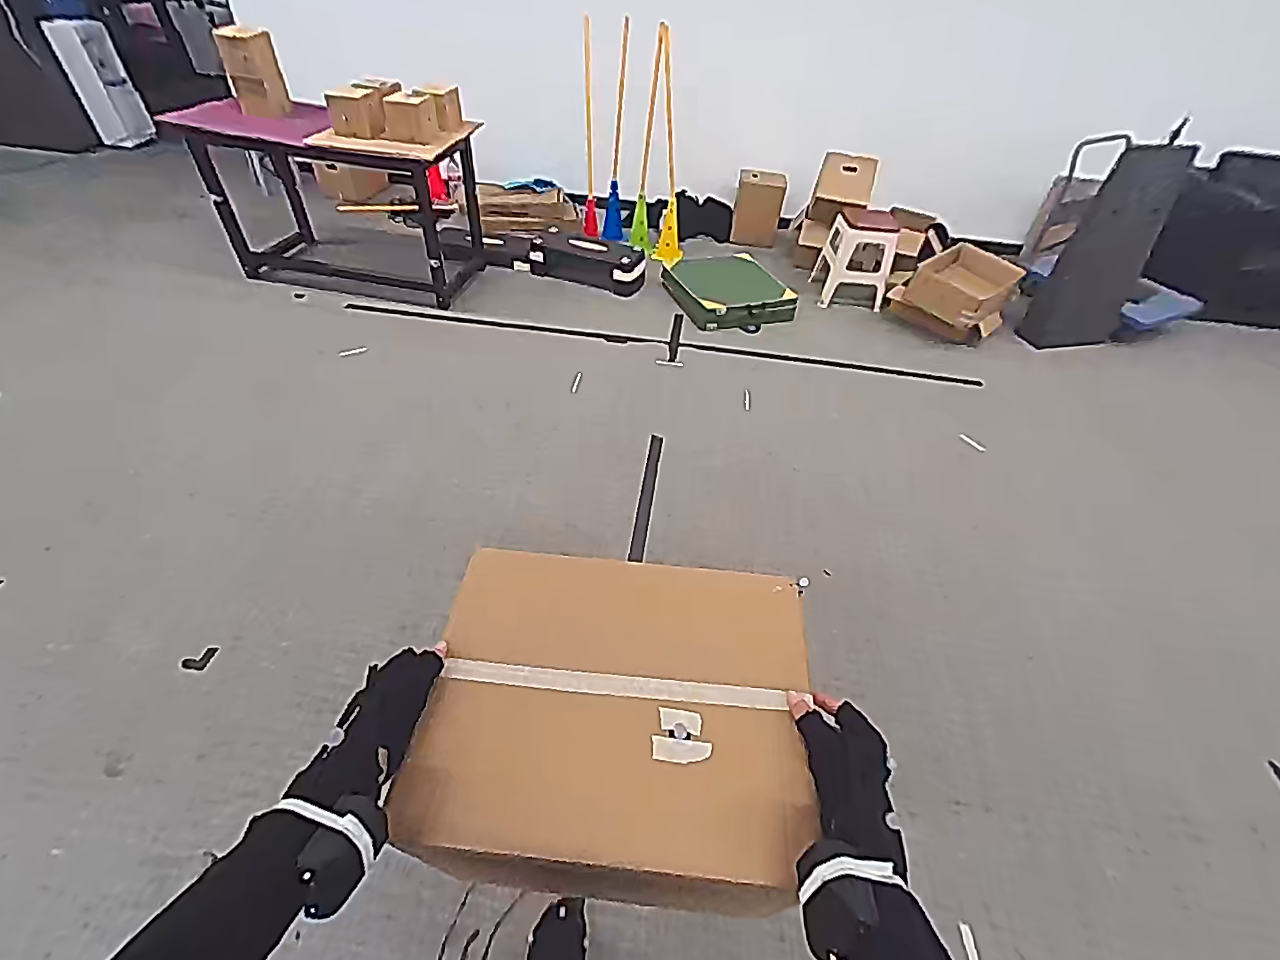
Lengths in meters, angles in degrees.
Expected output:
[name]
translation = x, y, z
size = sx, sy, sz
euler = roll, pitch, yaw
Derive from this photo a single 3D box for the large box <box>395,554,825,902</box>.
[large box]
translation = -0.025, 0.321, 0.698
size = 0.408, 0.320, 0.320
euler = 5, 48, 2
